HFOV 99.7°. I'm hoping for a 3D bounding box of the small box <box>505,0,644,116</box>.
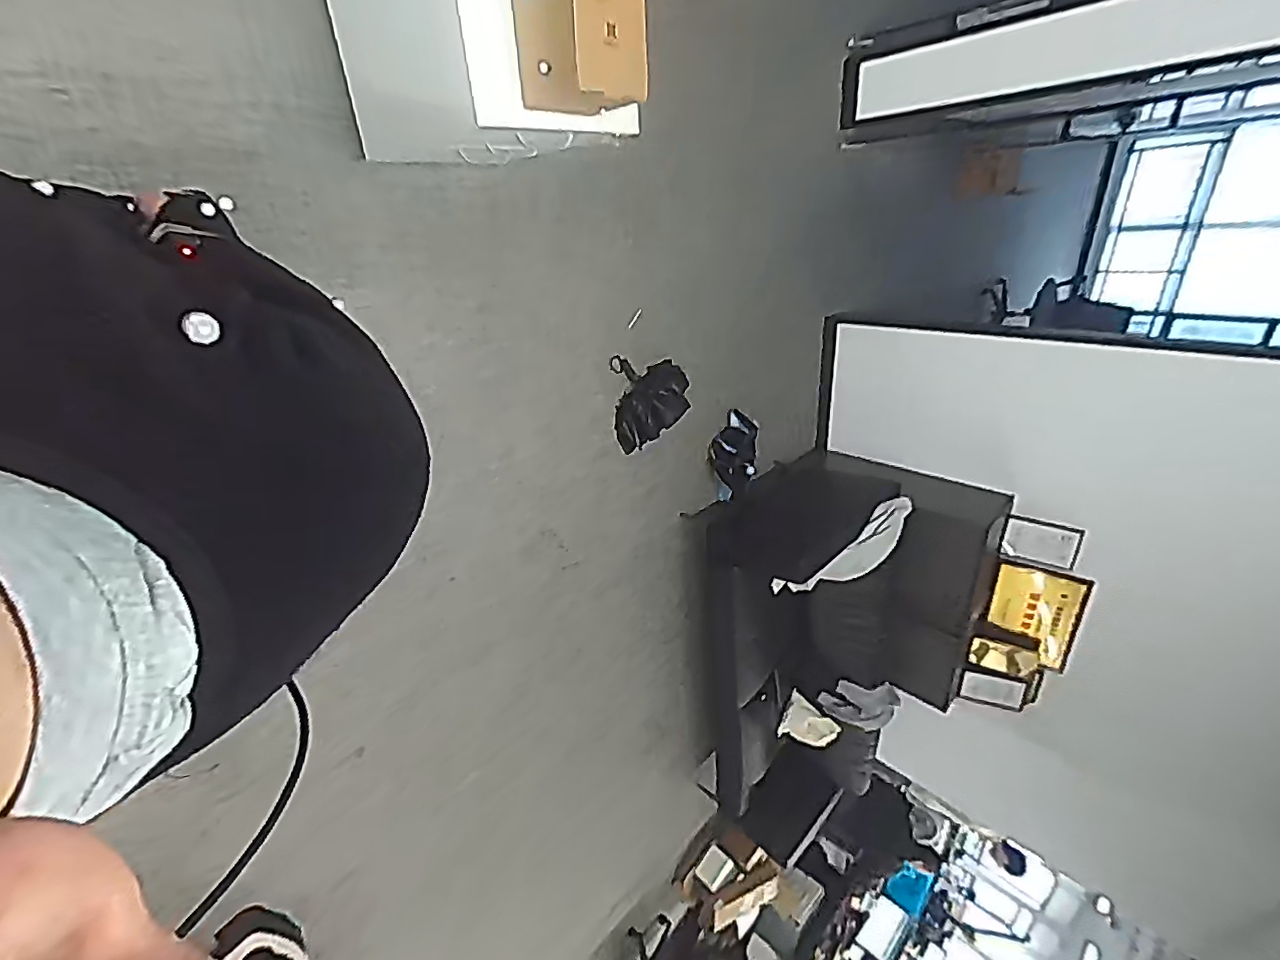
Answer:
[{"bbox_3d":[-0.113,-0.757,0.946,0.168,0.176,0.179,-26,122,-39],"label":"small box"}]
